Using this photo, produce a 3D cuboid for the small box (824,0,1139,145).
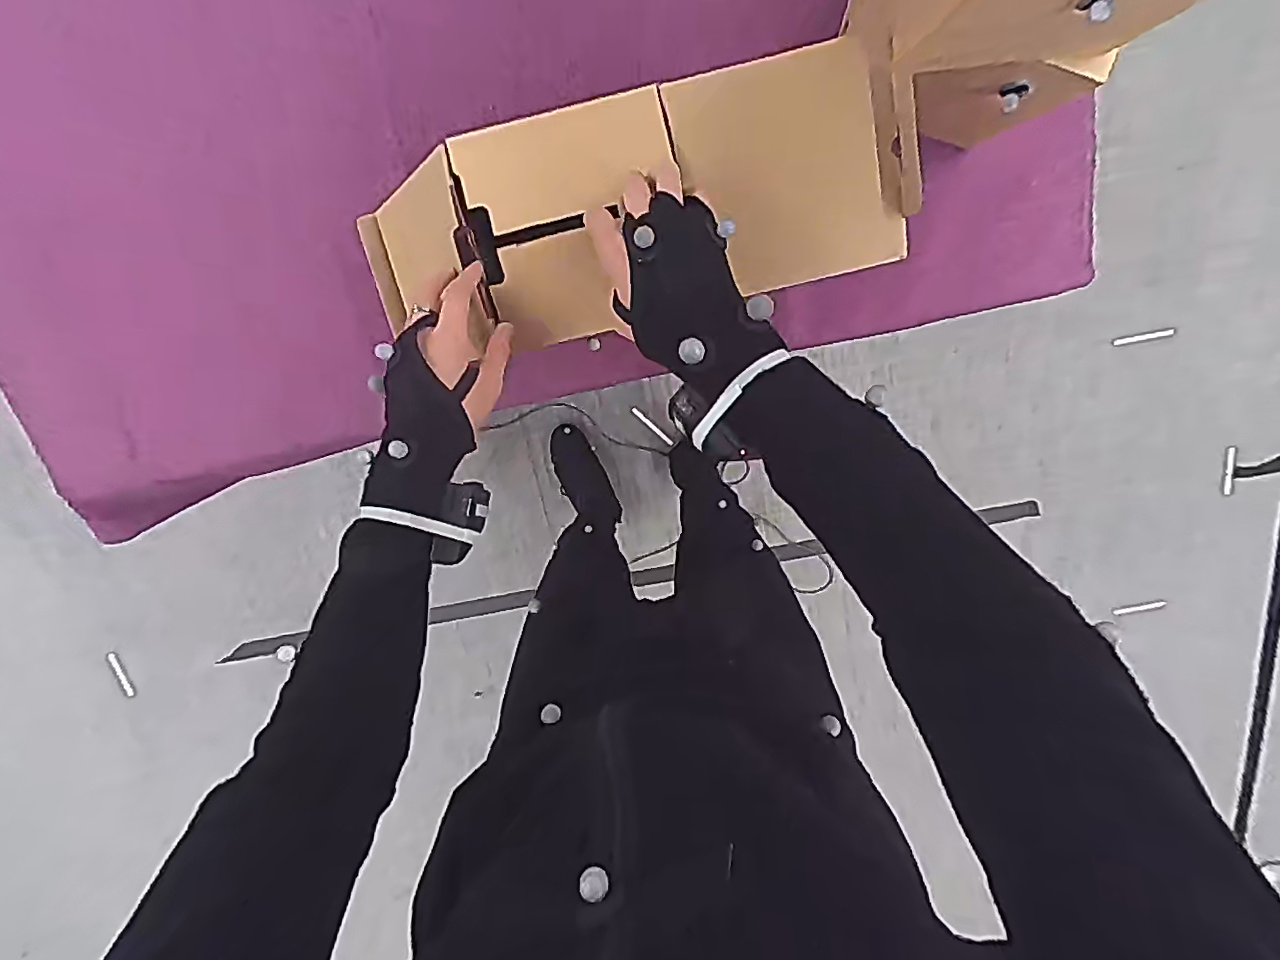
[{"bbox_3d":[0.292,-0.418,0.465,0.179,0.176,0.168,13,105,-6],"label":"small box"}]
